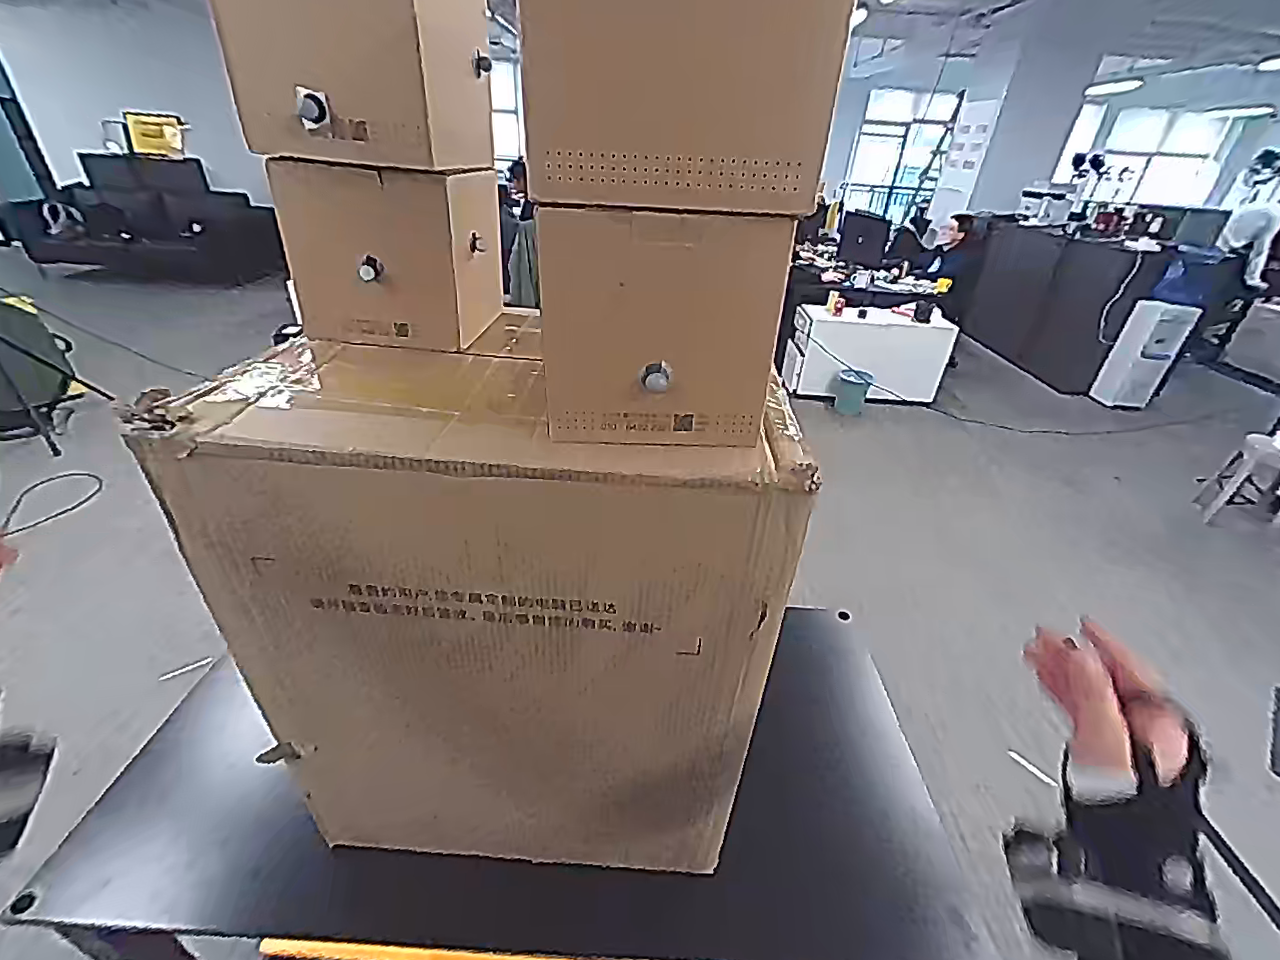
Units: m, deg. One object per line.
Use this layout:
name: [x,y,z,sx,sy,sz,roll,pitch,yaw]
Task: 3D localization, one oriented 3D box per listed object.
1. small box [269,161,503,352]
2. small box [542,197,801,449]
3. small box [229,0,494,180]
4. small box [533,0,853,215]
small box: [-0.252,-0.249,0.592,0.168,0.176,0.179,5,32,-1]
small box: [0.017,-0.141,0.448,0.168,0.176,0.179,1,33,-1]
small box: [-0.238,-0.379,0.493,0.168,0.176,0.179,5,32,1]
small box: [0.029,-0.273,0.350,0.179,0.176,0.168,3,33,0]
